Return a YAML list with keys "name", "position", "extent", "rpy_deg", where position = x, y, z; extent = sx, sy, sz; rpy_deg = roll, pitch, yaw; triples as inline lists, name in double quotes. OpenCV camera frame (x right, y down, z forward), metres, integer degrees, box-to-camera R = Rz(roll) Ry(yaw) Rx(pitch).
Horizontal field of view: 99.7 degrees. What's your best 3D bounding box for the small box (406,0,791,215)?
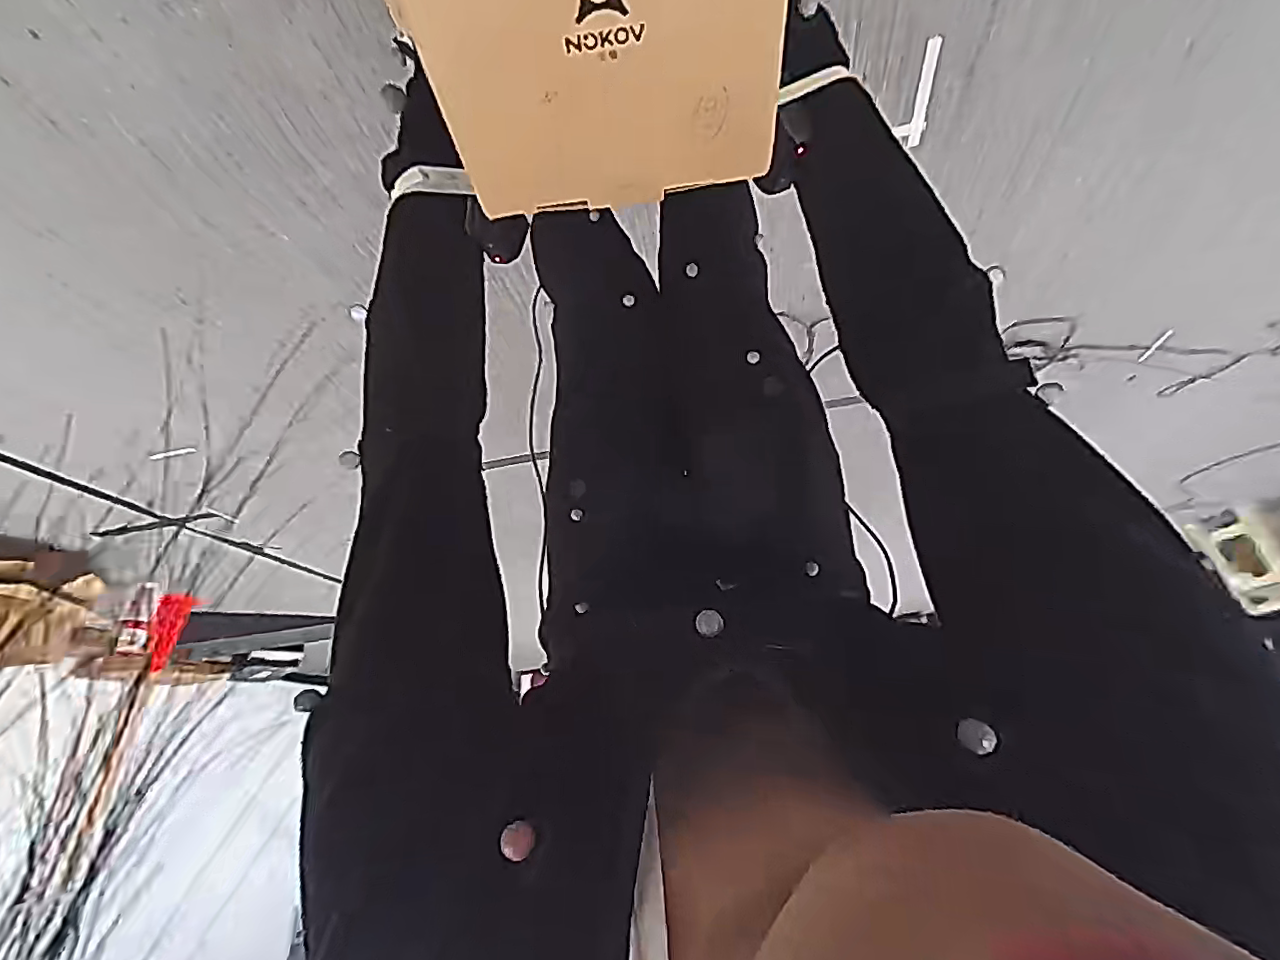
- name: "small box"
  position: [-0.023, -0.273, 0.271]
  extent: [0.168, 0.176, 0.179]
  rpy_deg: [-8, 152, 3]
